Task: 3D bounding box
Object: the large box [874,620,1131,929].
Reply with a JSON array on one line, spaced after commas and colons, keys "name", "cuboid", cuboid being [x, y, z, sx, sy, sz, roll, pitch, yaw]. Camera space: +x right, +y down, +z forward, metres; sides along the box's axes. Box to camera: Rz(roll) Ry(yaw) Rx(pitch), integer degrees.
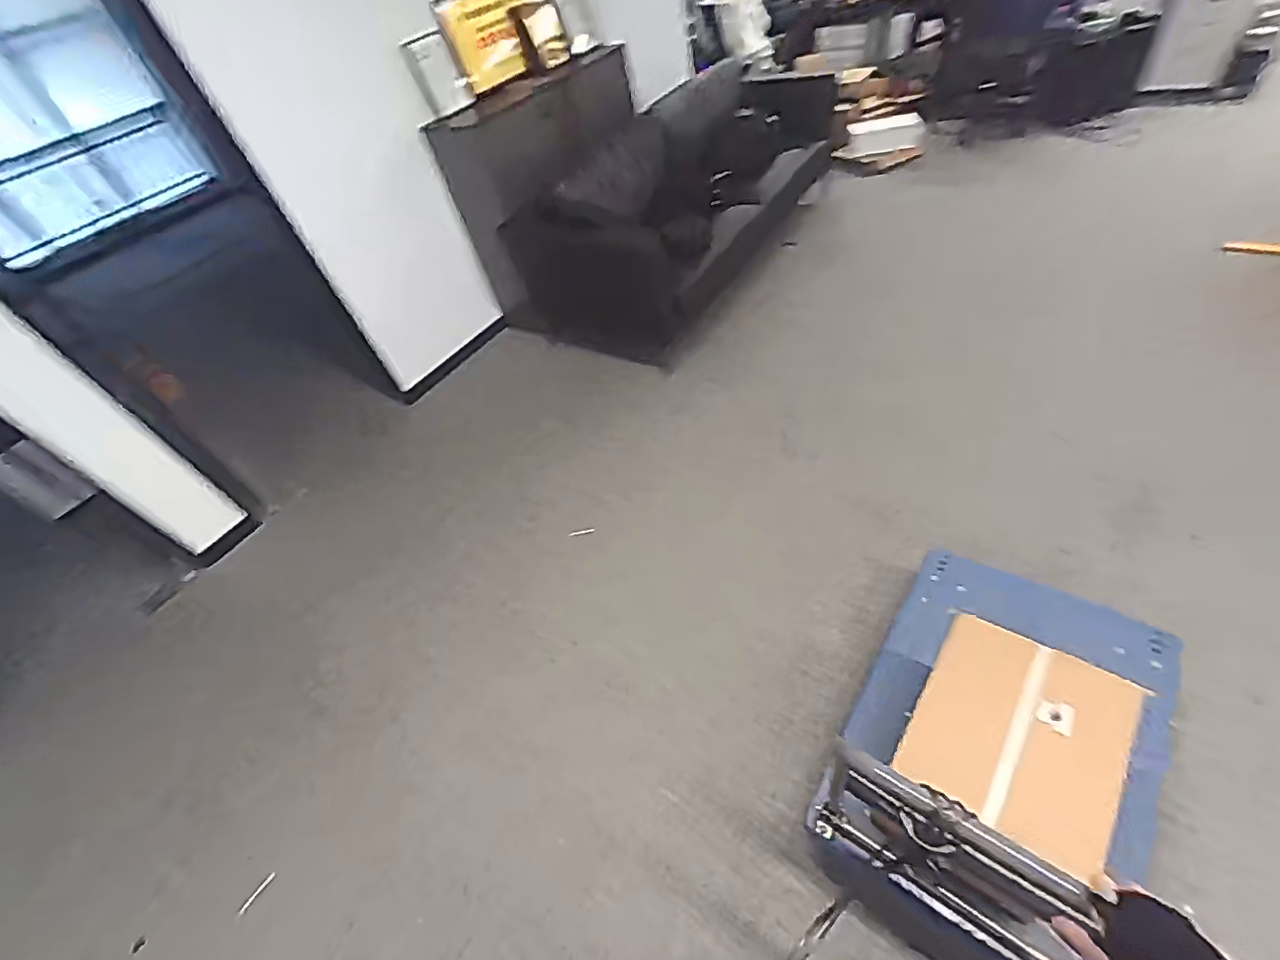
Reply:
[{"name": "large box", "cuboid": [0.714, 0.582, 1.102, 0.320, 0.320, 0.408, 24, 57, 33]}]
